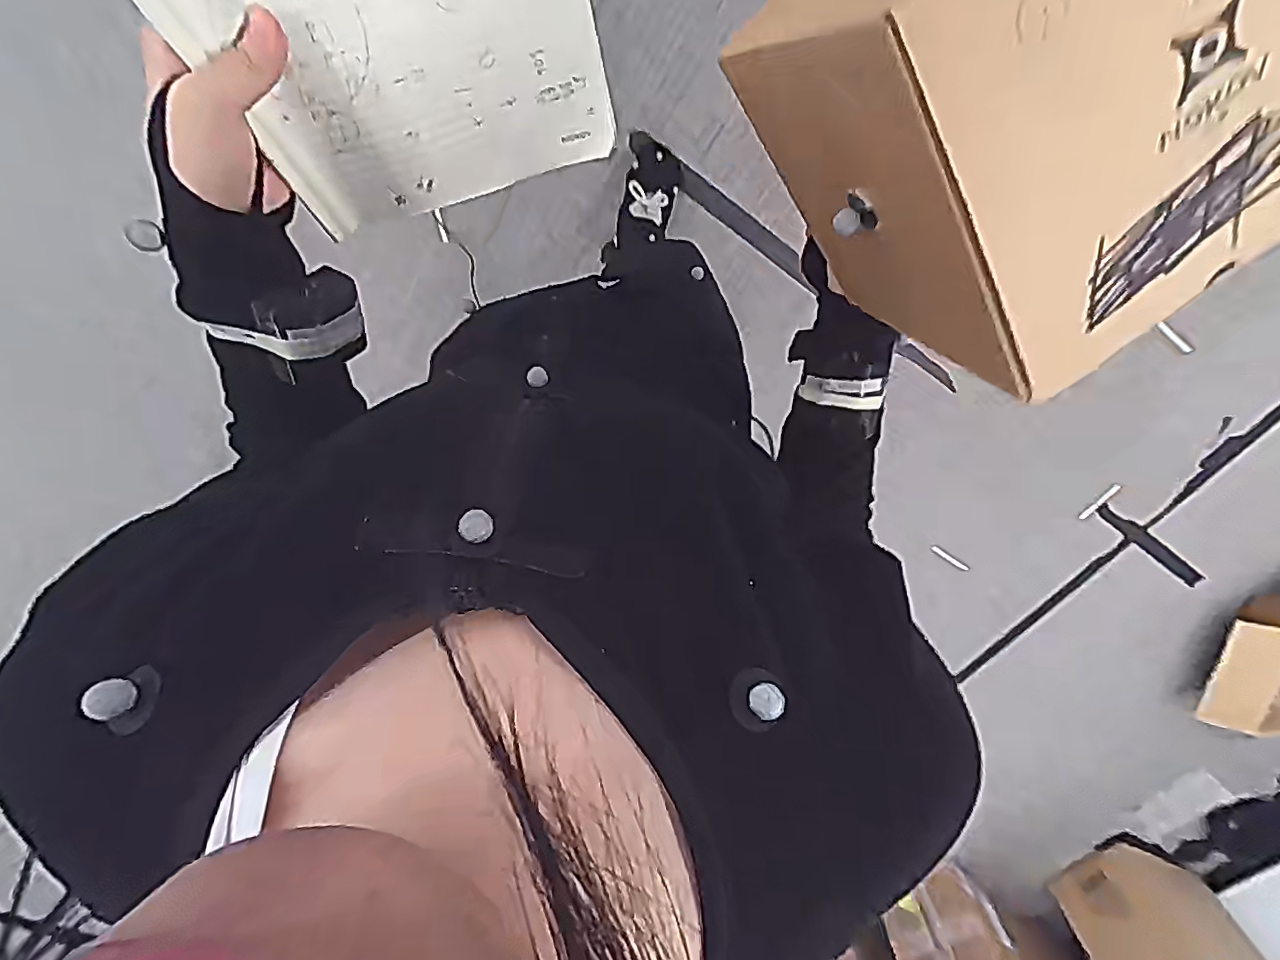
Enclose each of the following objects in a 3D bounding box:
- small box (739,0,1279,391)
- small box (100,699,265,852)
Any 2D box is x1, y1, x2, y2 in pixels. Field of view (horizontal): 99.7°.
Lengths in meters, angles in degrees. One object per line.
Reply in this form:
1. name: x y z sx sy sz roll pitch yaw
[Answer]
1. small box: 0.173 -0.178 0.238 0.168 0.176 0.179 -38 123 13
2. small box: -0.867 0.563 1.040 0.168 0.176 0.179 29 112 -14
